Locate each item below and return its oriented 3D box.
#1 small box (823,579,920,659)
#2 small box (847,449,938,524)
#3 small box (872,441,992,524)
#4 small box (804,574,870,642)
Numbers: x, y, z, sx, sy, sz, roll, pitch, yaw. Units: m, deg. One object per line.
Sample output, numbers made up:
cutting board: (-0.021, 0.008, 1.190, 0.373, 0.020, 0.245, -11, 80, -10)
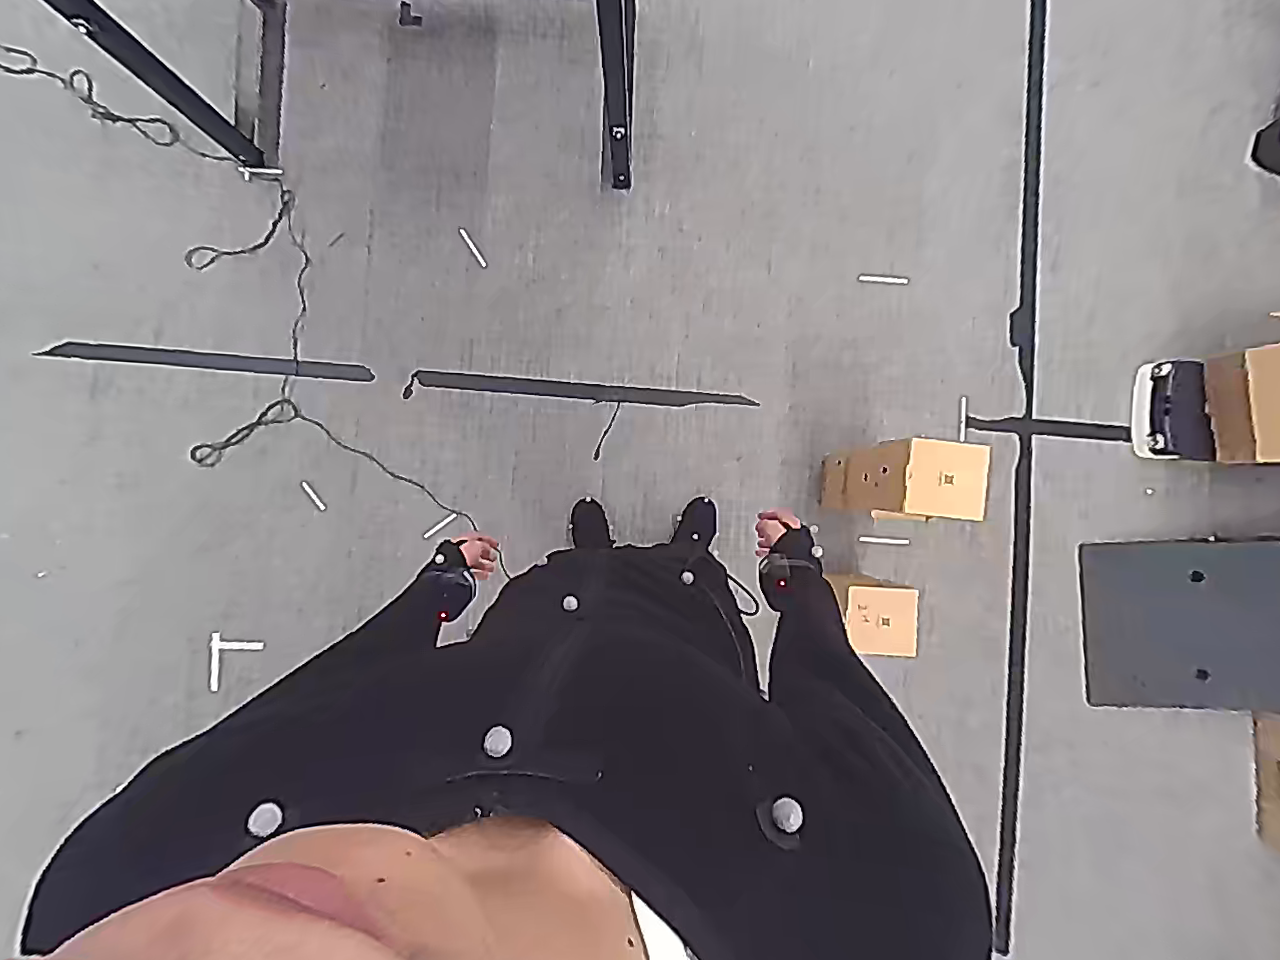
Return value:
small box: (0.591, 0.352, 1.394, 0.179, 0.176, 0.168, 3, 88, 0)
small box: (0.650, 0.016, 1.398, 0.168, 0.176, 0.179, 4, 90, 0)
small box: (0.658, 0.004, 1.235, 0.179, 0.176, 0.168, 6, 90, 1)
small box: (0.587, 0.367, 1.559, 0.179, 0.176, 0.168, 2, 88, 1)
